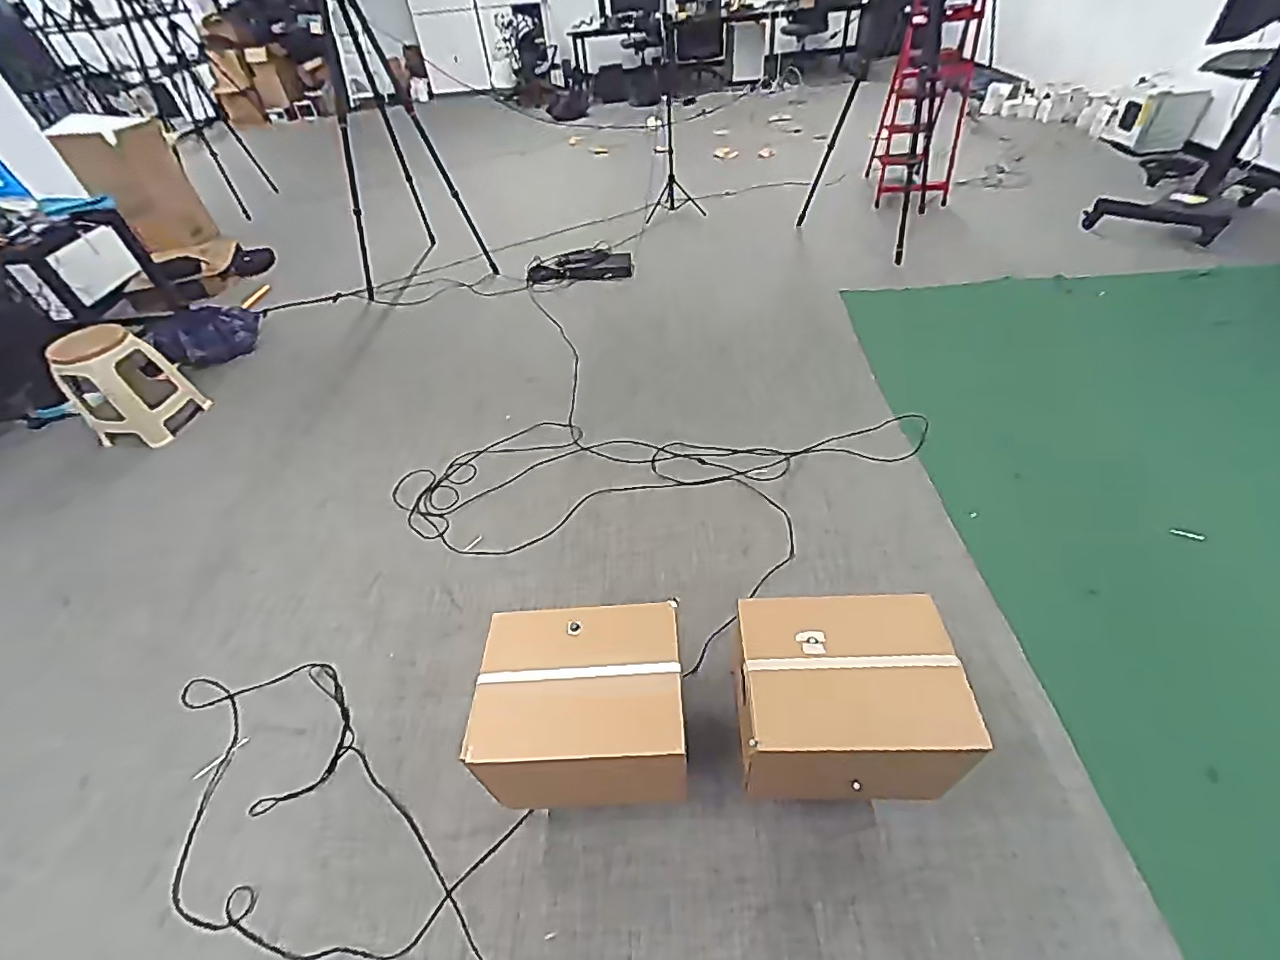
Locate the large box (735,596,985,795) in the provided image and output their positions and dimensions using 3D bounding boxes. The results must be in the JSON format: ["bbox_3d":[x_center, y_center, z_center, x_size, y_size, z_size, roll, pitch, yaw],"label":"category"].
[{"bbox_3d":[0.424,0.470,1.164,0.408,0.320,0.320,-3,45,5],"label":"large box"}]
